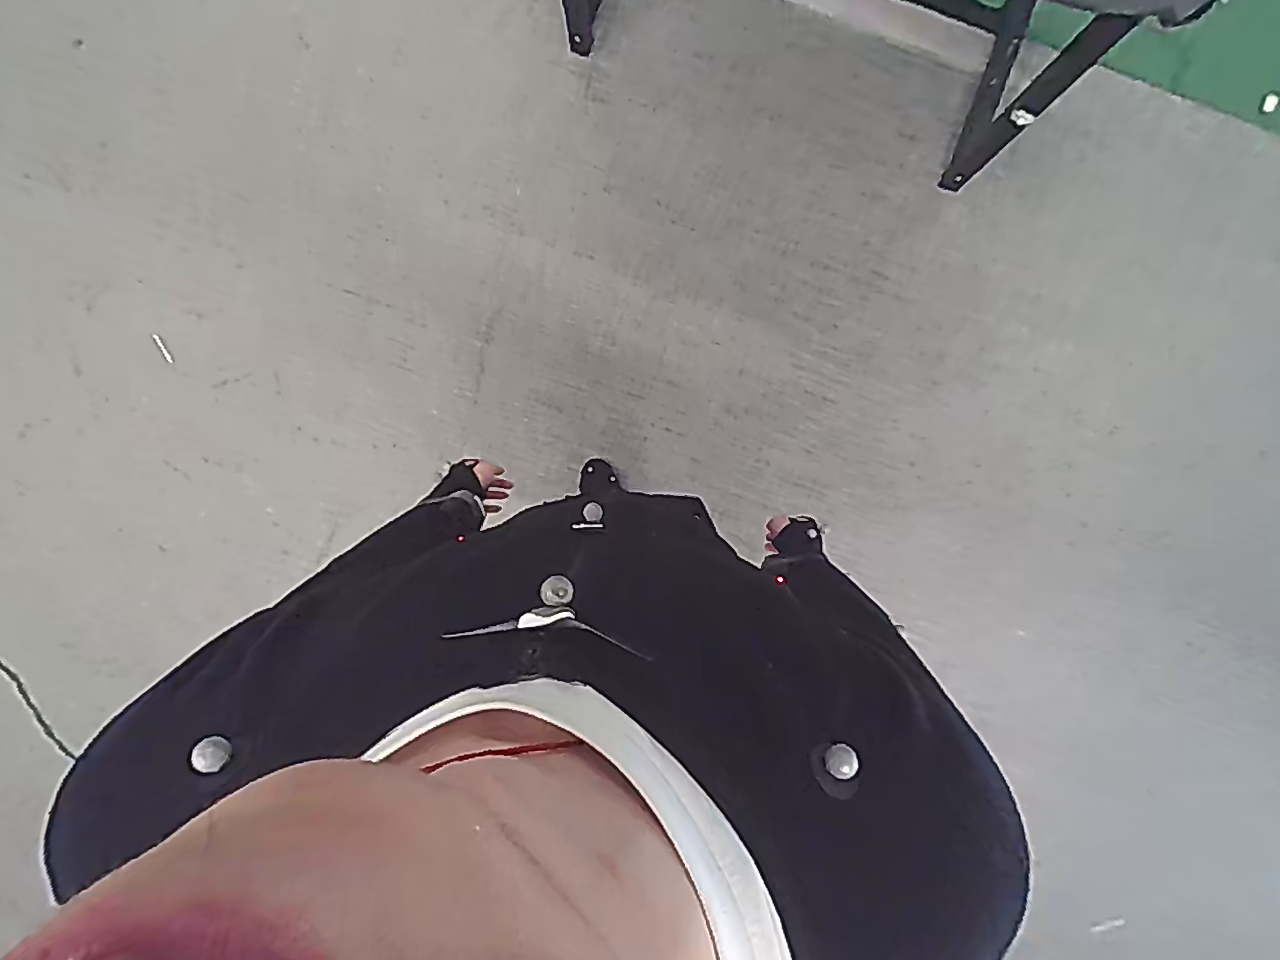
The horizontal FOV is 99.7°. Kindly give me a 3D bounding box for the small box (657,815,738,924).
[{"bbox_3d":[0.152,1.085,1.522,0.179,0.176,0.168,18,90,-2],"label":"small box"}]
